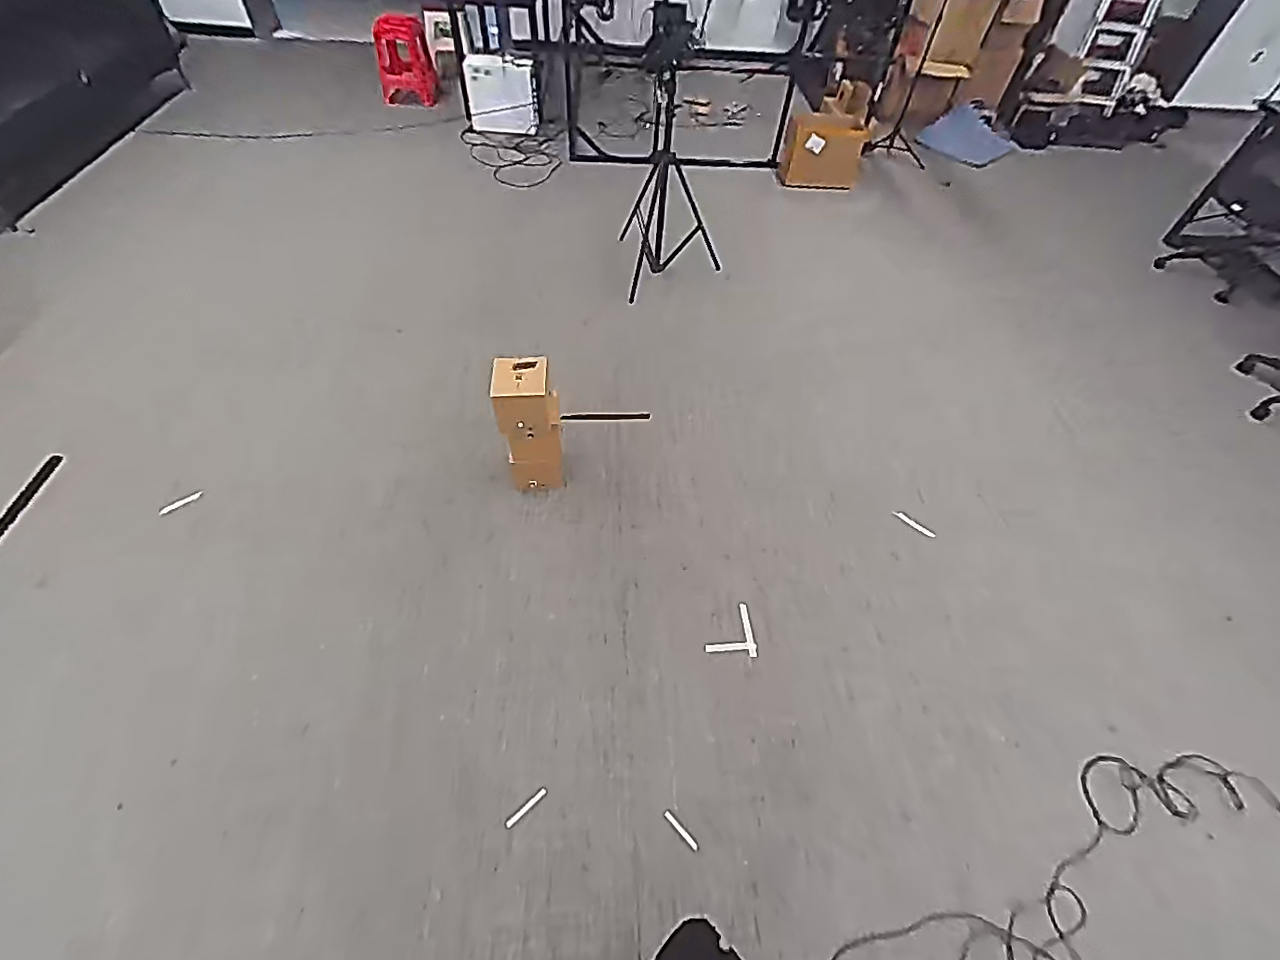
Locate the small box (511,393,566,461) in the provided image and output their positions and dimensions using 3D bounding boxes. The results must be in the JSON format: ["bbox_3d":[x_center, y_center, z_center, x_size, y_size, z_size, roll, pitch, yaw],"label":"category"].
[{"bbox_3d":[-0.352,-0.178,1.855,0.179,0.176,0.168,-5,53,-6],"label":"small box"}]

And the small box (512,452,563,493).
[{"bbox_3d":[-0.371,-0.074,1.981,0.168,0.176,0.179,-4,53,-6],"label":"small box"}]

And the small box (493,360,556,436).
[{"bbox_3d":[-0.359,-0.259,1.710,0.168,0.176,0.179,-2,53,-3],"label":"small box"}]
